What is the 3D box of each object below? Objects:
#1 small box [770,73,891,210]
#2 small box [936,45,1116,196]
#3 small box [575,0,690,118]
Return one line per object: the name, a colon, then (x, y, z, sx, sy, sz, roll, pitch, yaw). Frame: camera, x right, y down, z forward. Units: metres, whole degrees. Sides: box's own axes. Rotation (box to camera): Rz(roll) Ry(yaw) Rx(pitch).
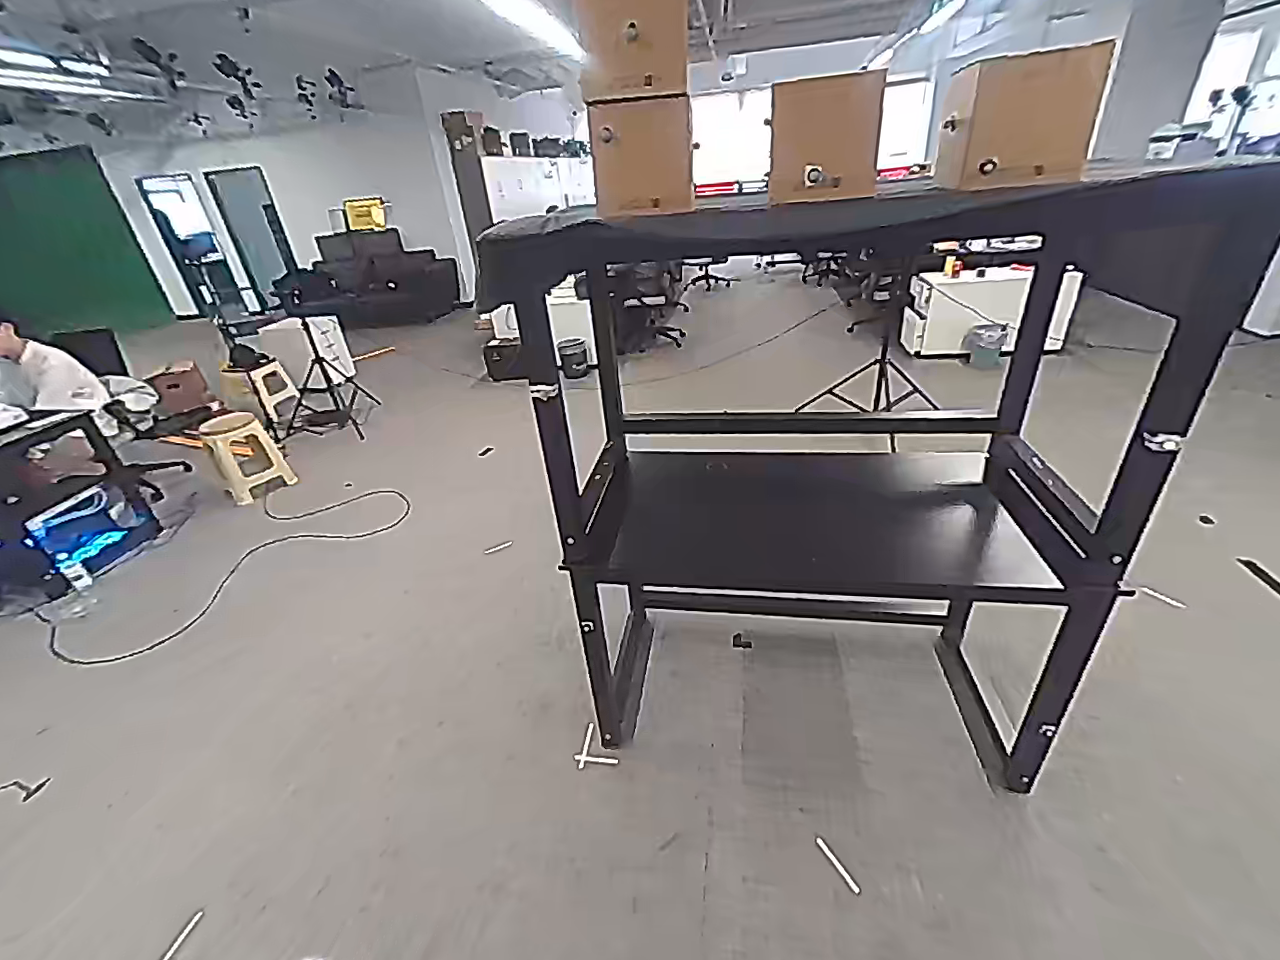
small box: (0.303, -0.546, 0.894, 0.168, 0.176, 0.179, 1, 29, 14)
small box: (0.583, -0.547, 0.846, 0.168, 0.176, 0.179, 2, 29, 13)
small box: (-0.004, -0.692, 0.863, 0.168, 0.176, 0.179, -1, 29, 5)
